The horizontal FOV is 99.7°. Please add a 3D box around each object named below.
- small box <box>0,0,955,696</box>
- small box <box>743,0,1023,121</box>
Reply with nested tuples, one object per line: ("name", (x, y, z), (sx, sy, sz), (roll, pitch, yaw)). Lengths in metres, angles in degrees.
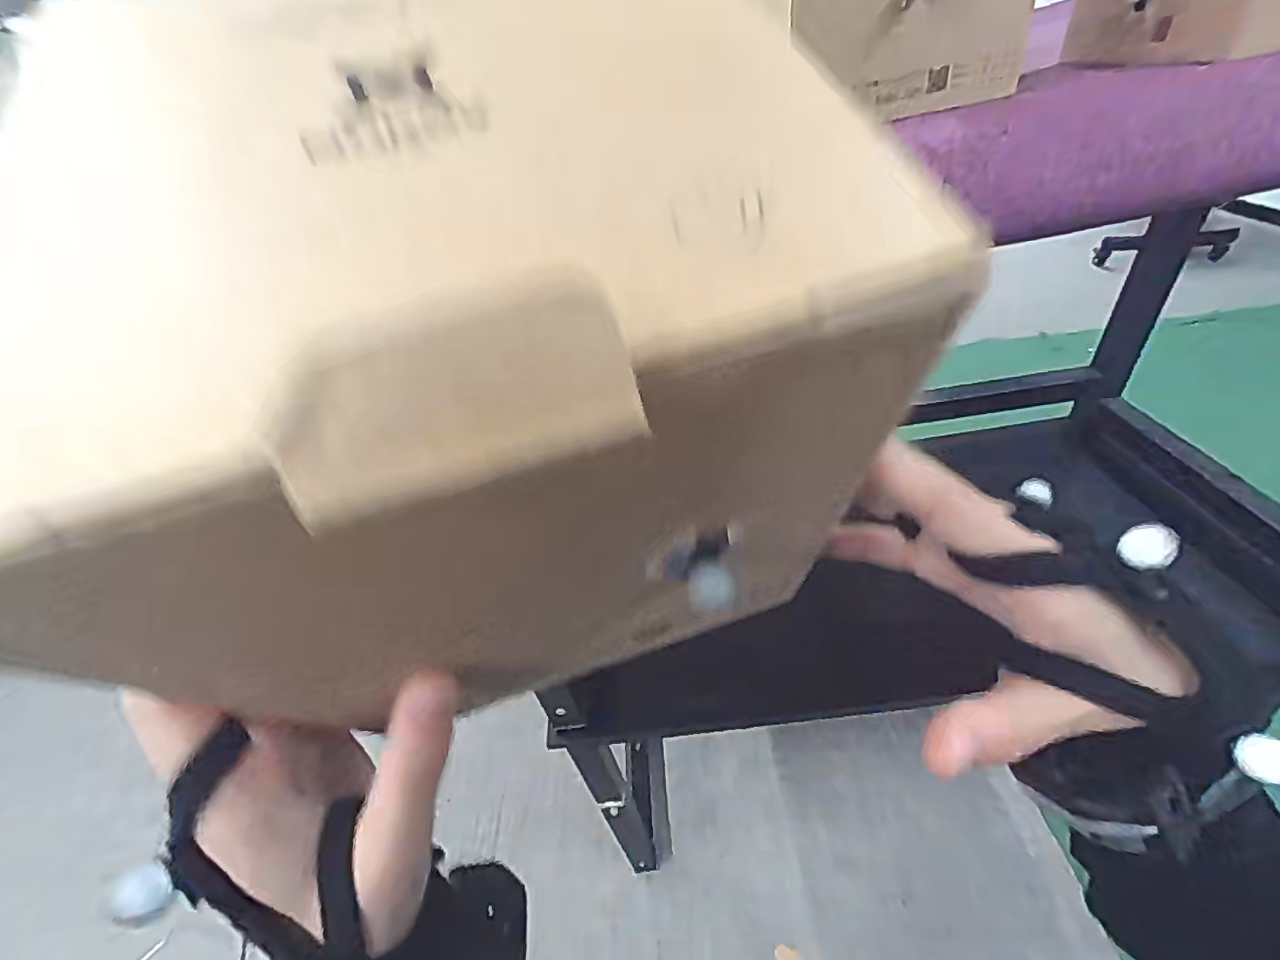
("small box", (-0.047, -0.040, 0.184), (0.168, 0.176, 0.179), (-17, 61, -7))
("small box", (0.165, -0.373, 0.403), (0.168, 0.176, 0.179), (-10, 38, 1))
